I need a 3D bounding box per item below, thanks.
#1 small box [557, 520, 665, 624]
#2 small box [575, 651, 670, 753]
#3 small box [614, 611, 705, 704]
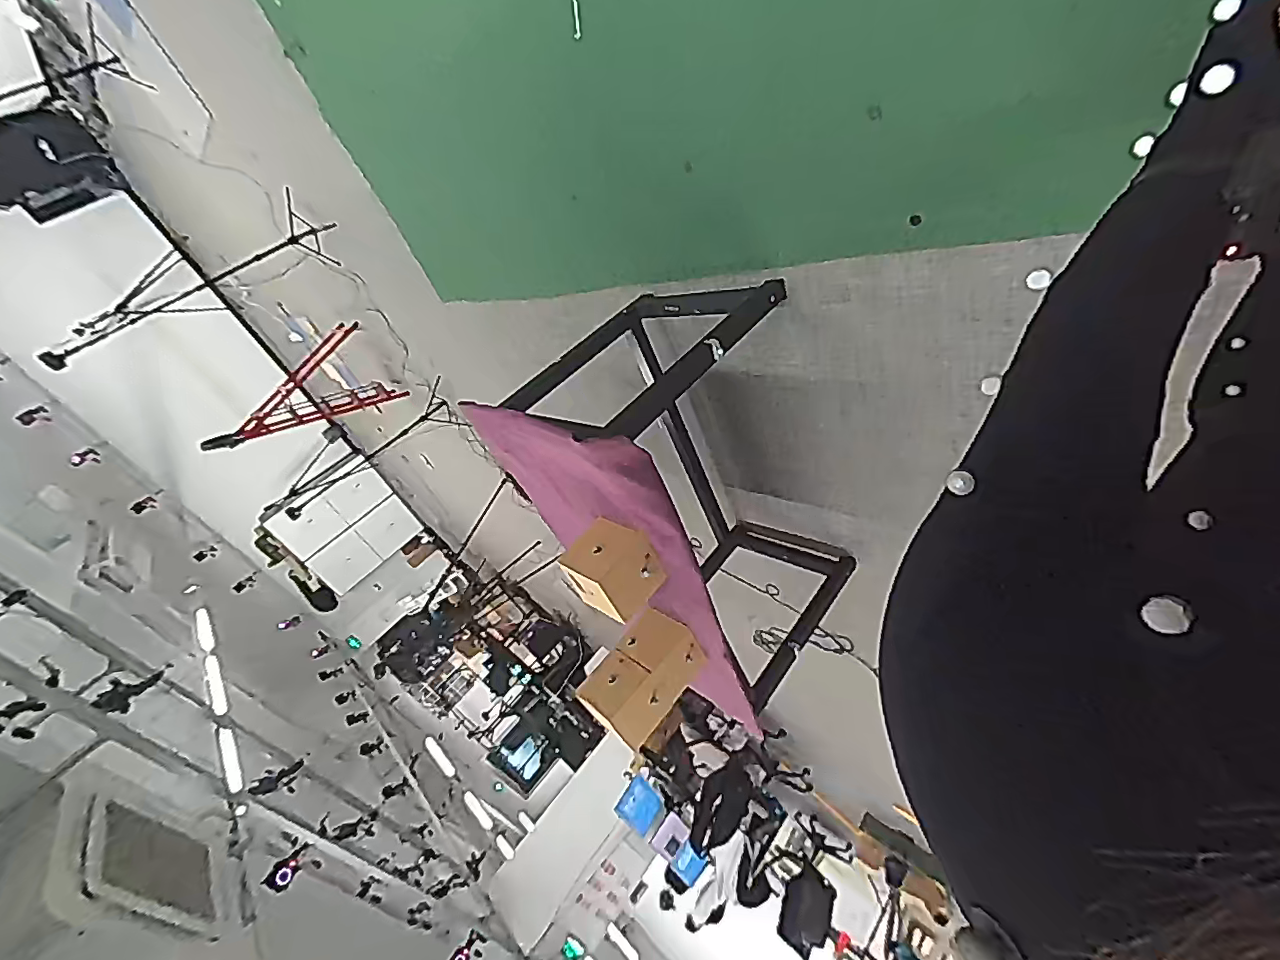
[{"bbox_3d":[-0.070,0.222,1.358,0.179,0.176,0.168,16,142,46],"label":"small box"},{"bbox_3d":[-0.046,0.618,1.525,0.168,0.176,0.179,17,142,49],"label":"small box"},{"bbox_3d":[0.060,0.513,1.593,0.179,0.176,0.168,16,143,49],"label":"small box"}]
